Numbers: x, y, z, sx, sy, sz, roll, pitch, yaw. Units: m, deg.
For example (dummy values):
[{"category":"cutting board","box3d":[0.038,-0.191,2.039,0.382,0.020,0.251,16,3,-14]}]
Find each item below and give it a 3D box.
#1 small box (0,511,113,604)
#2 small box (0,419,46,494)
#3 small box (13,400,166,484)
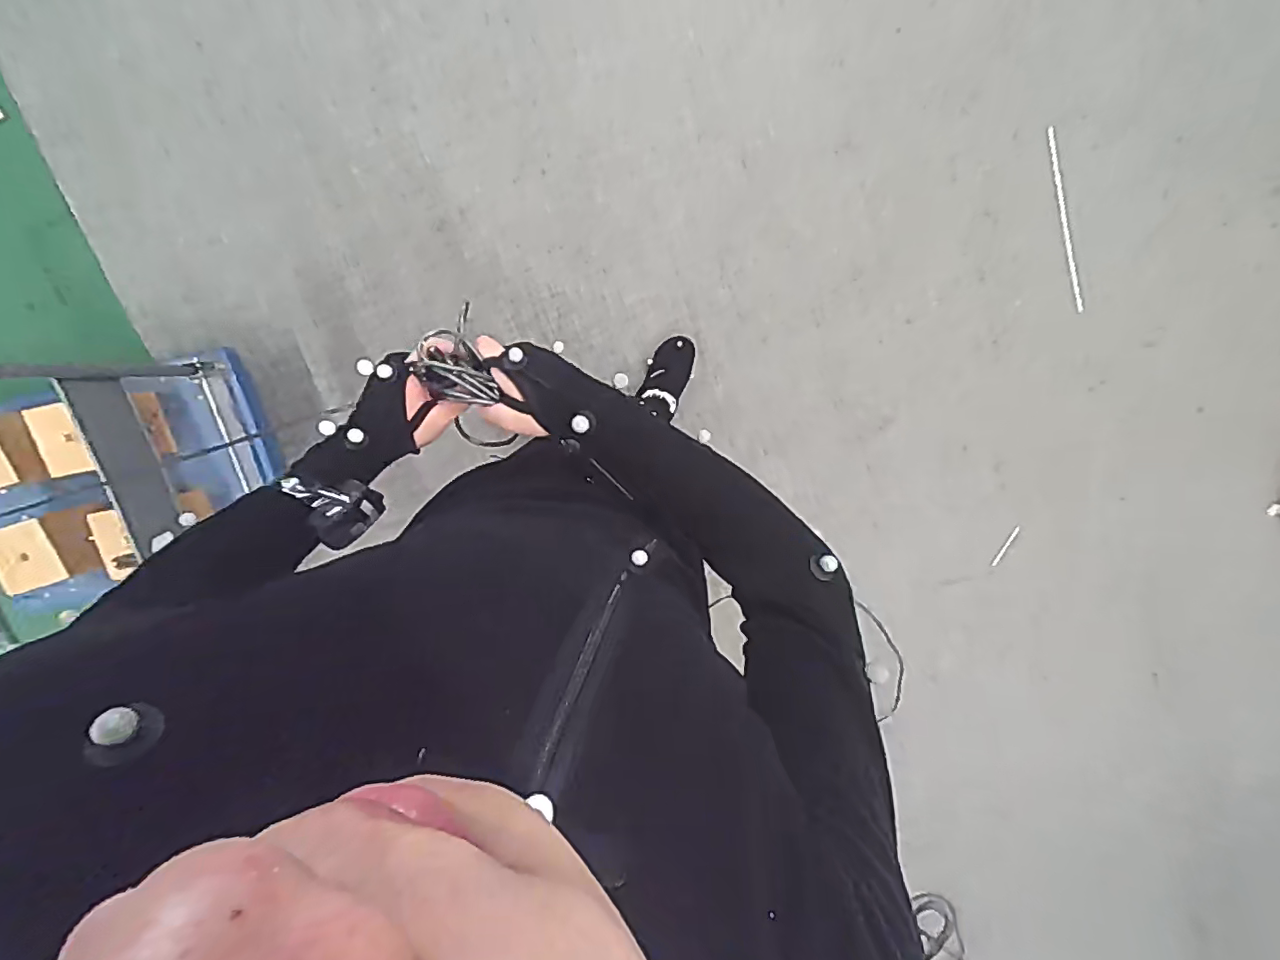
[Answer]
[{"category":"small box","box3d":[-1.527,0.192,1.391,0.179,0.176,0.168,-16,101,3]},{"category":"small box","box3d":[-1.589,-0.051,1.335,0.179,0.176,0.168,-14,103,2]},{"category":"small box","box3d":[-1.336,-0.099,1.327,0.179,0.176,0.168,-11,102,1]}]
